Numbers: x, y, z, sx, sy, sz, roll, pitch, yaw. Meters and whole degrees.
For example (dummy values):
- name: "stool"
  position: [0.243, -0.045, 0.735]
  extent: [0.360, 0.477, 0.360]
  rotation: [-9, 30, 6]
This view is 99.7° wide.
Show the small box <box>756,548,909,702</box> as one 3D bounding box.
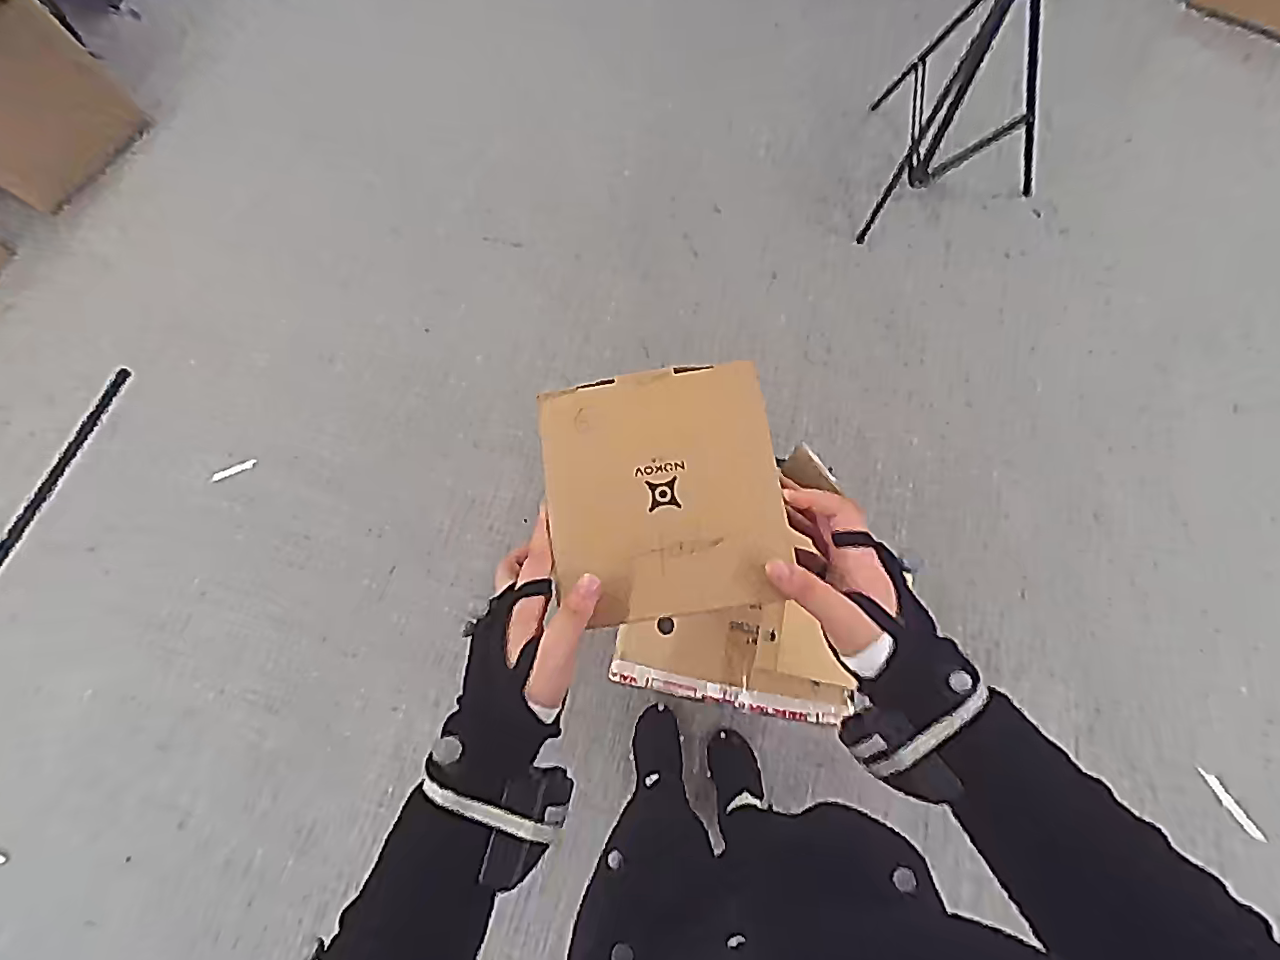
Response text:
- name: "small box"
  position: [0.276, 0.214, 0.806]
  extent: [0.168, 0.176, 0.179]
  rotation: [12, 73, 5]

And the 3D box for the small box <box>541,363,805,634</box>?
- name: "small box"
  position: [0.022, 0.025, 0.454]
  extent: [0.168, 0.176, 0.179]
  rotation: [-9, 79, 2]
